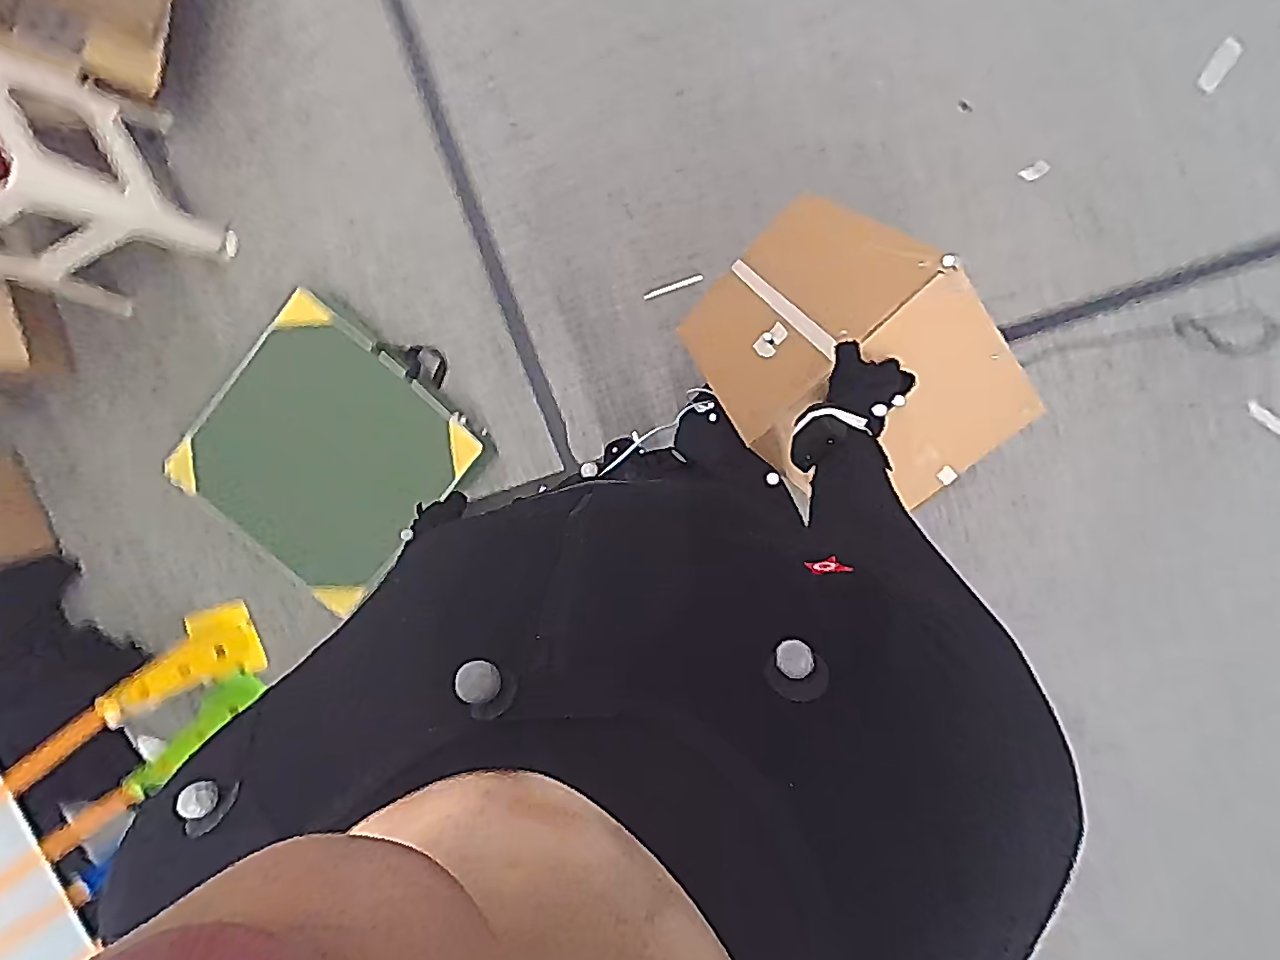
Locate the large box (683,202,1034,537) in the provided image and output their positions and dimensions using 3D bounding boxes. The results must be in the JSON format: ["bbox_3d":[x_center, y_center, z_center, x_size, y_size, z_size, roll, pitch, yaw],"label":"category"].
[{"bbox_3d":[0.324,-0.187,0.892,0.320,0.408,0.320,33,115,-32],"label":"large box"}]
